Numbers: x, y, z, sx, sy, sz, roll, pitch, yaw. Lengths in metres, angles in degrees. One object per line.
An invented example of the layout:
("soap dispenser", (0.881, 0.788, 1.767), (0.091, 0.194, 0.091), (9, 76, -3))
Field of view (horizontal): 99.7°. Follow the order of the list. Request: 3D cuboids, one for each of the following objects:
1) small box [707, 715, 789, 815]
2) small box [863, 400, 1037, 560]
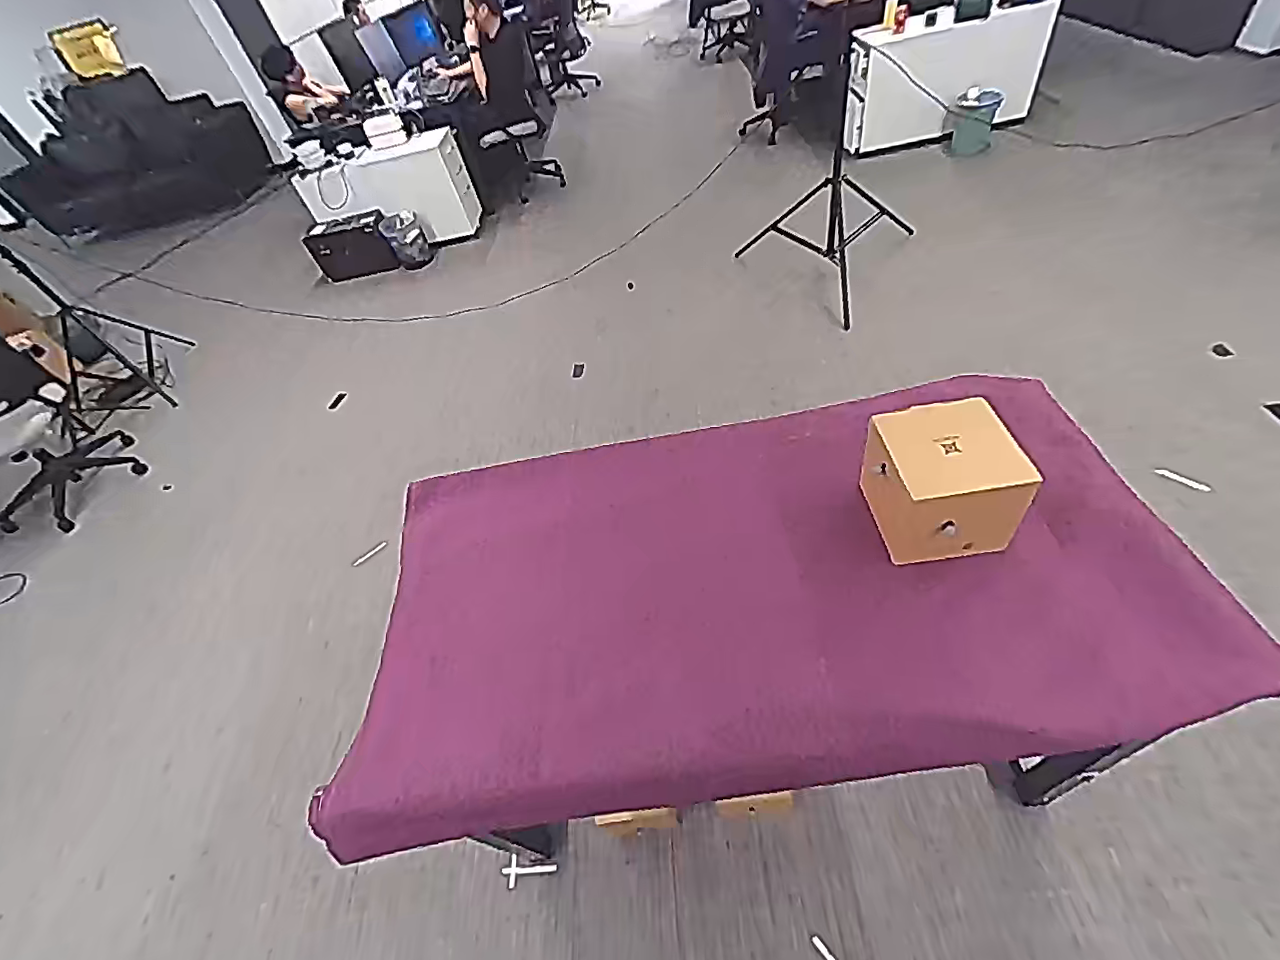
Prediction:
("small box", (0.254, 0.677, 1.274), (0.168, 0.176, 0.179), (-8, 47, 7))
("small box", (0.456, 0.009, 0.828), (0.168, 0.176, 0.179), (-9, 47, 7))
